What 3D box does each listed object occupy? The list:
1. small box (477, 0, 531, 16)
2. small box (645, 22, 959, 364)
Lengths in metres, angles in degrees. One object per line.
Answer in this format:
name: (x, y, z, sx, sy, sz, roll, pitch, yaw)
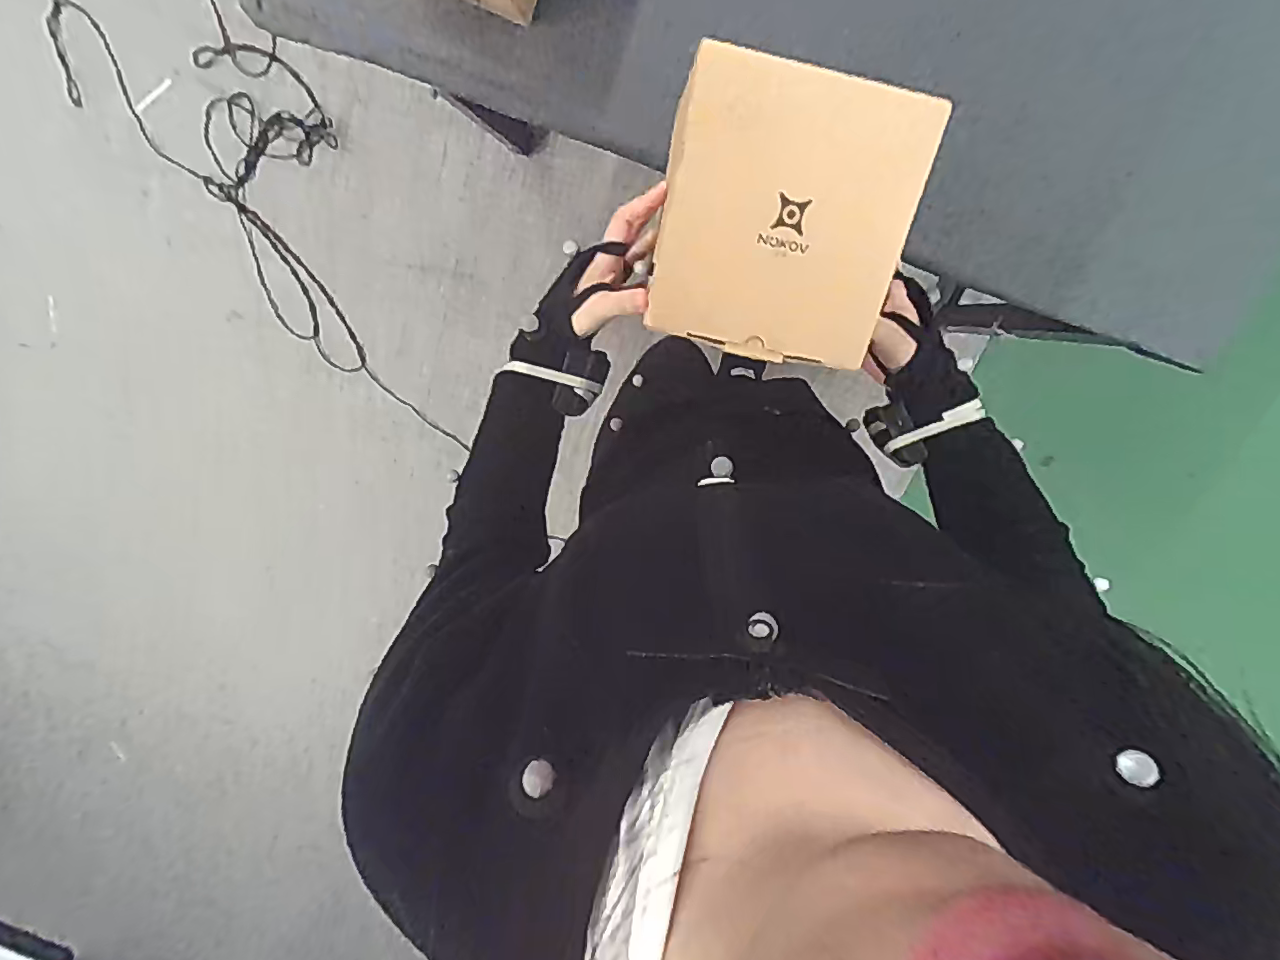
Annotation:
small box: (-0.176, -0.600, 0.504, 0.168, 0.176, 0.179, 24, 108, -1)
small box: (0.100, -0.205, 0.429, 0.168, 0.176, 0.179, 9, 110, -6)
